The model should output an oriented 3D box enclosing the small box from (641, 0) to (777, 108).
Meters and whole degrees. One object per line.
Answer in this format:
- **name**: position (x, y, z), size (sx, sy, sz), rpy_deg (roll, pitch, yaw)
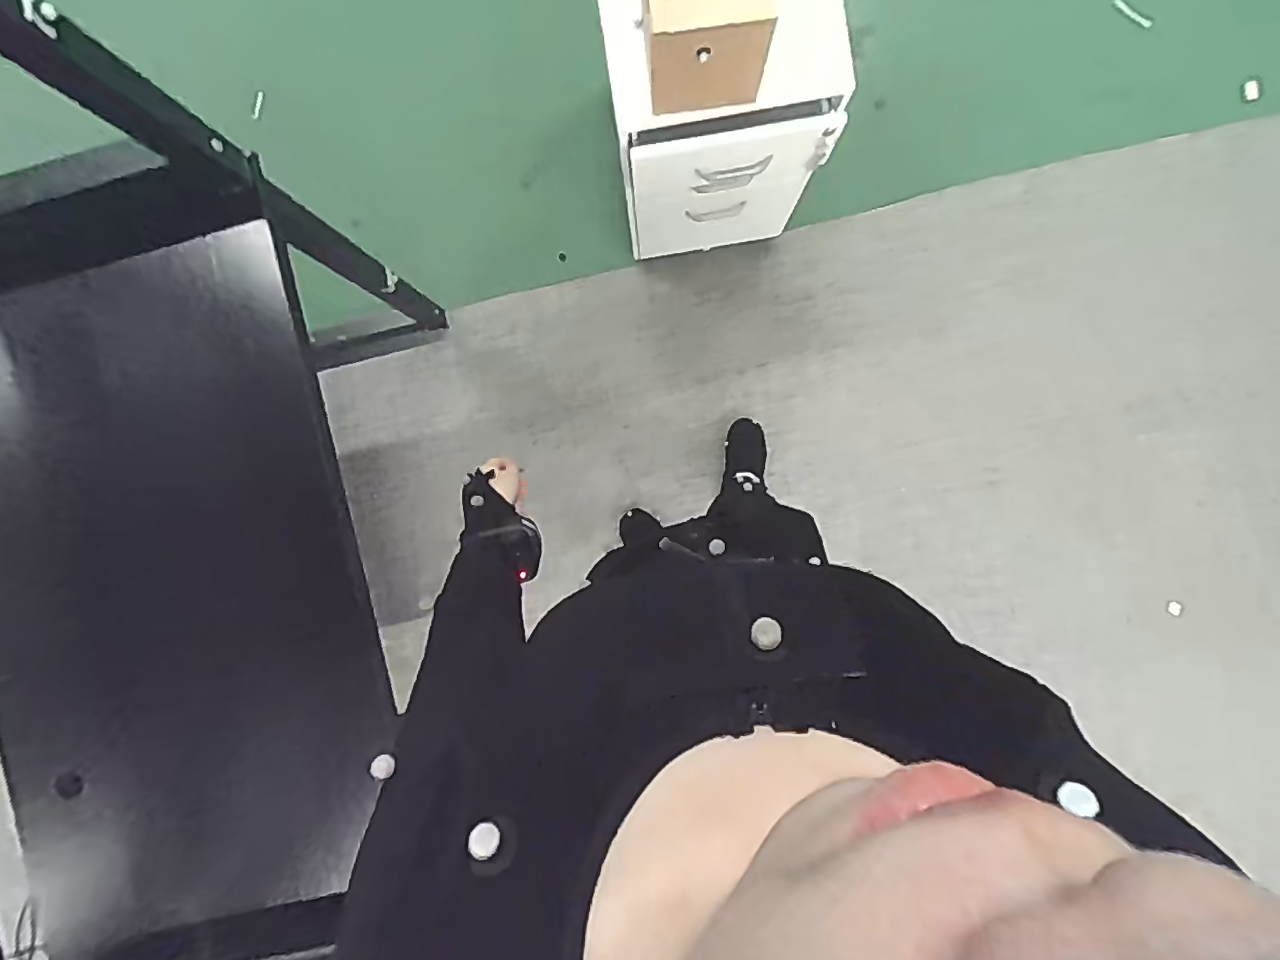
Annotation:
- **small box**: position (0.091, -0.689, 0.801), size (0.179, 0.176, 0.168), rpy_deg (-6, 90, 1)
